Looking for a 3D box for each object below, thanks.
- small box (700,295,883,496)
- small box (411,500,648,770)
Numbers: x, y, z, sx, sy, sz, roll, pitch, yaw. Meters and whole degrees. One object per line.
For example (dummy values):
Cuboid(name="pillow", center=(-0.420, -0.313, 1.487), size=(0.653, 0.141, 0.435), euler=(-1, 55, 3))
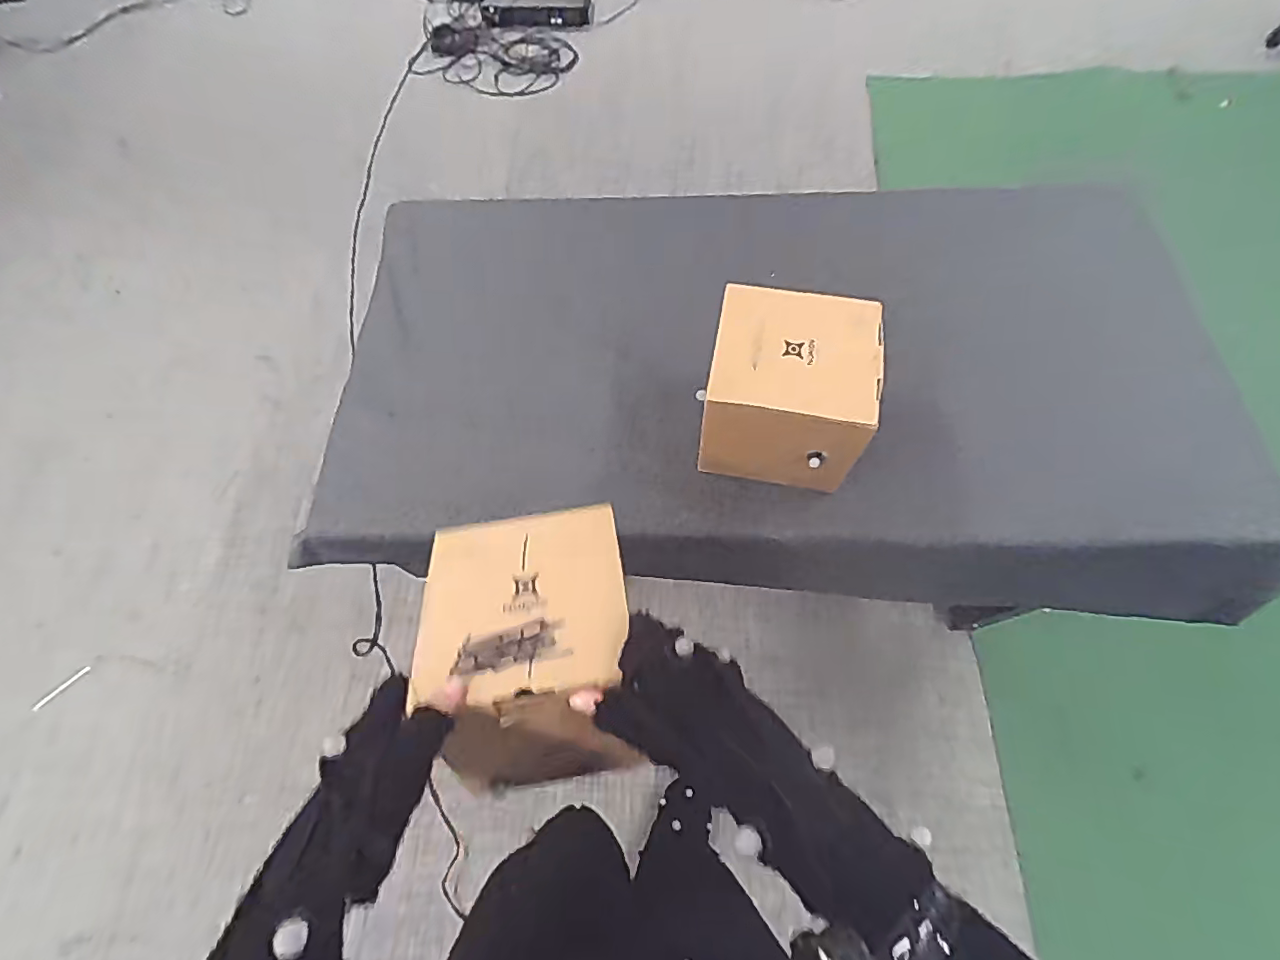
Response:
Cuboid(name="small box", center=(0.175, -0.094, 0.657), size=(0.179, 0.176, 0.168), euler=(9, 65, 8))
Cuboid(name="small box", center=(-0.087, 0.146, 0.498), size=(0.168, 0.176, 0.179), euler=(-8, 43, -3))
